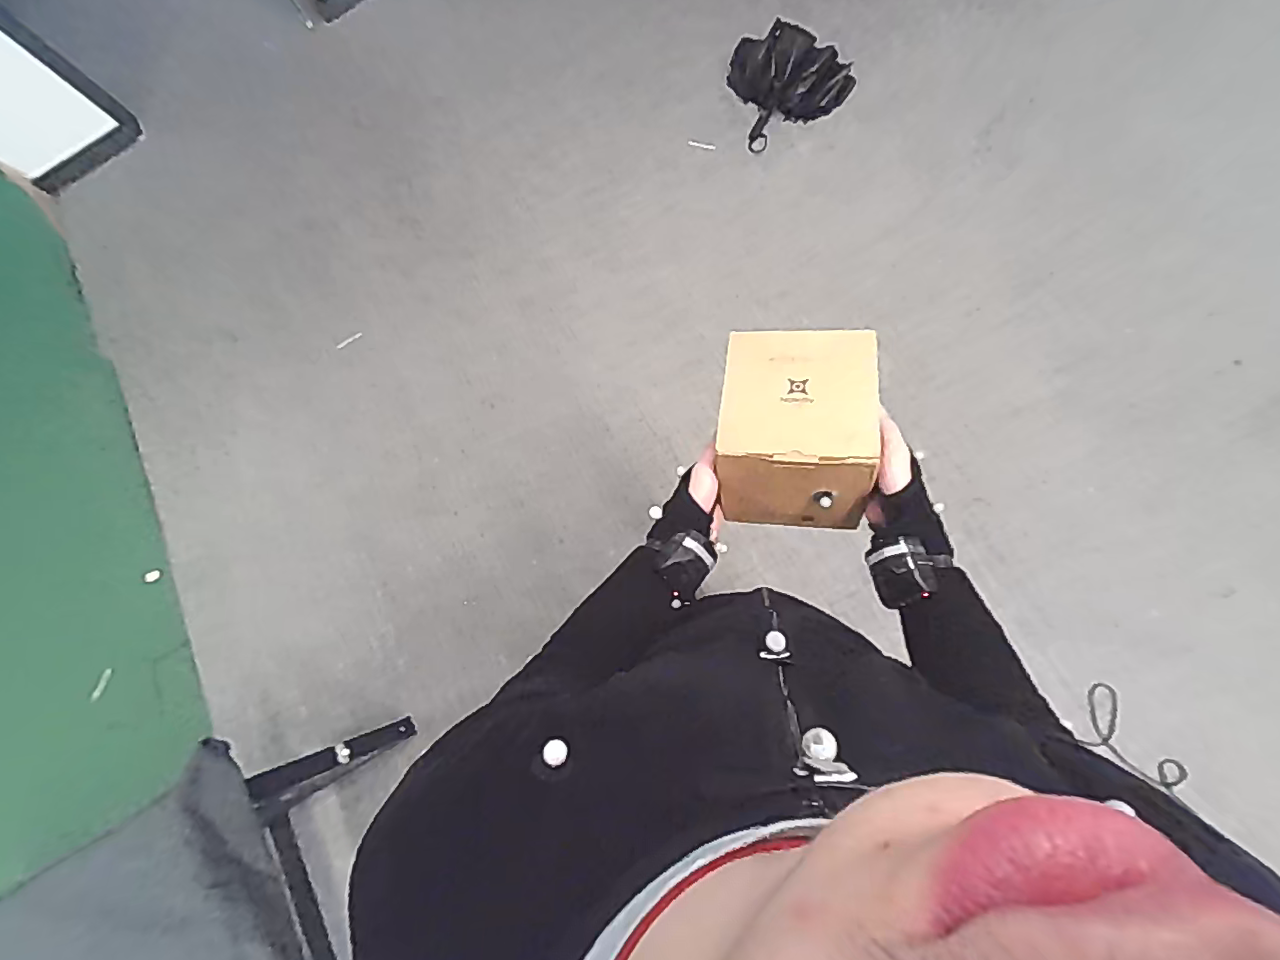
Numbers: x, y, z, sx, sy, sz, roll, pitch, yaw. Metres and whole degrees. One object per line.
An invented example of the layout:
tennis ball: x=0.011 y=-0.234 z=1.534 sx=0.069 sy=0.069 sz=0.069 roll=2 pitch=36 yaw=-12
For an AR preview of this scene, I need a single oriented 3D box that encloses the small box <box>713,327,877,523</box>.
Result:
small box: x=0.183 y=-0.062 z=0.657 sx=0.168 sy=0.176 sz=0.179 roll=4 pitch=60 yaw=13
